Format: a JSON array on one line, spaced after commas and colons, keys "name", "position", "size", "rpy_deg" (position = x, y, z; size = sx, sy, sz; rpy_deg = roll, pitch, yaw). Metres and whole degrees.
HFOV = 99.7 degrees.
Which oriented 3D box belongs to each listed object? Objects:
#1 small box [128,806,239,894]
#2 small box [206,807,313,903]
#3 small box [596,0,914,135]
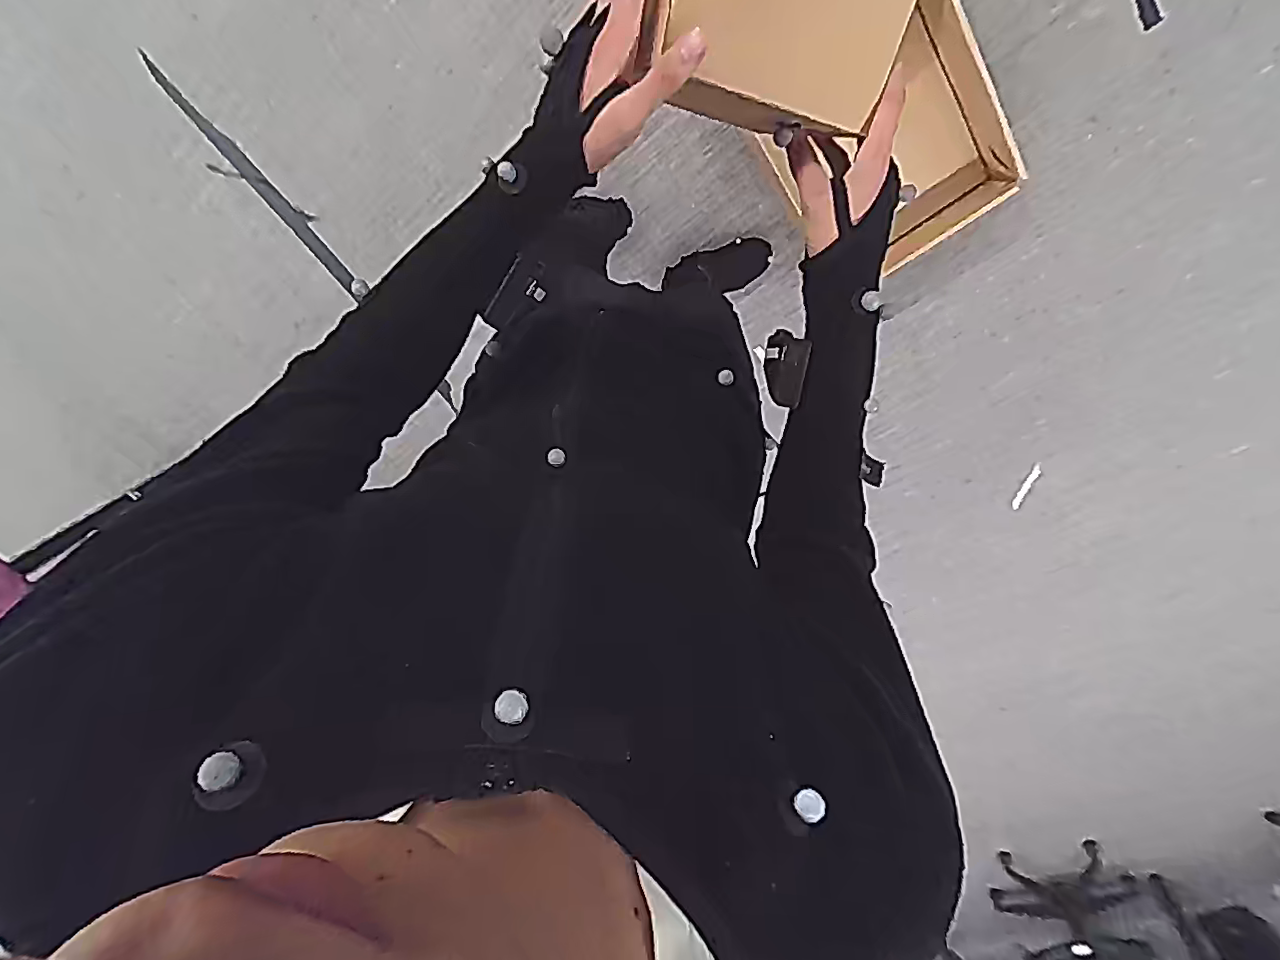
[{"name": "small box", "position": [-1.399, 1.142, 1.675], "size": [0.179, 0.176, 0.168], "rpy_deg": [-24, 115, 19]}, {"name": "small box", "position": [-1.141, 1.131, 1.635], "size": [0.179, 0.176, 0.168], "rpy_deg": [-34, 110, 23]}, {"name": "small box", "position": [0.082, -0.371, 0.394], "size": [0.179, 0.176, 0.168], "rpy_deg": [2, 121, -22]}]
